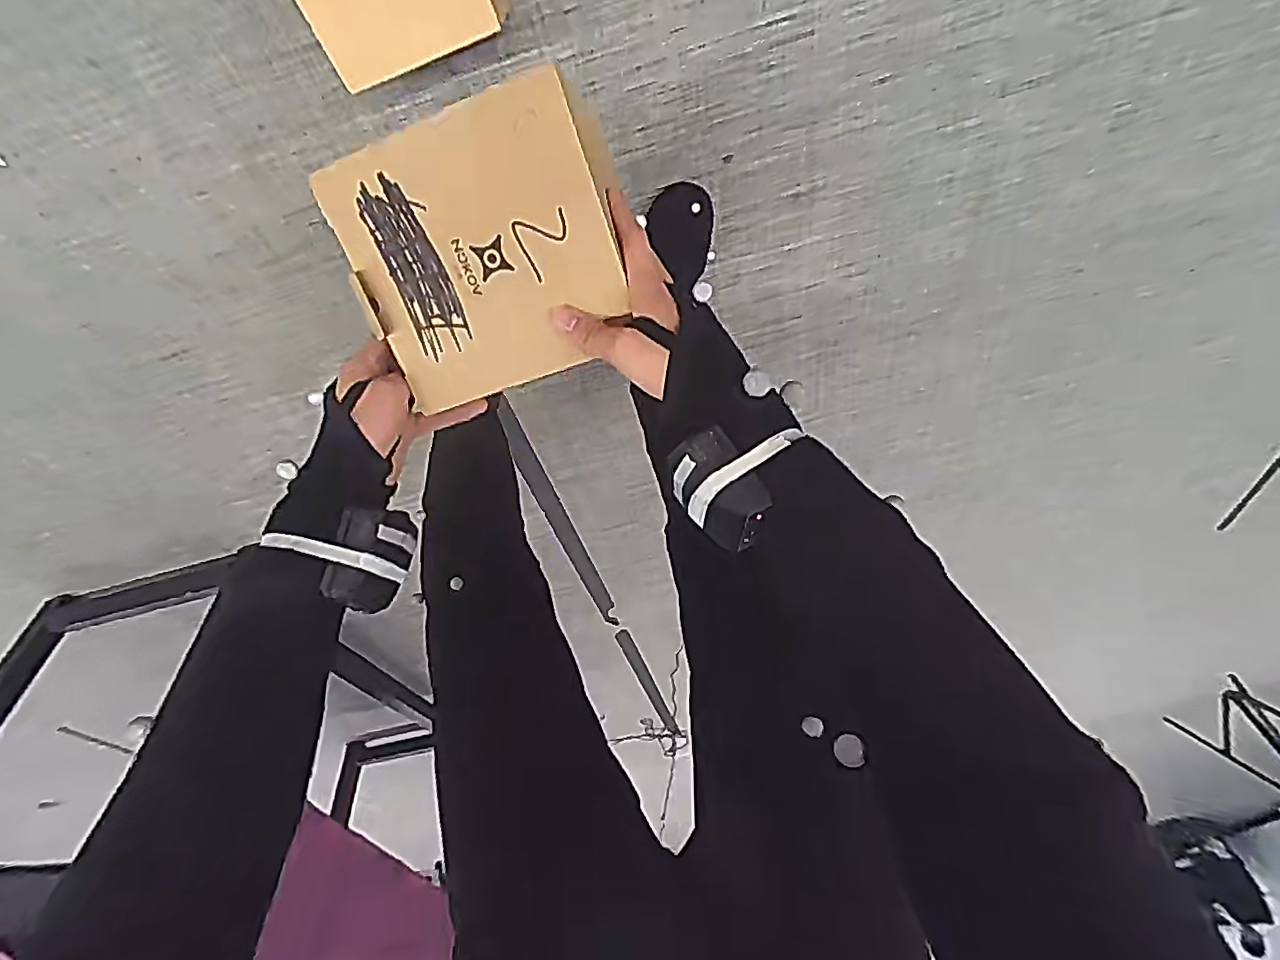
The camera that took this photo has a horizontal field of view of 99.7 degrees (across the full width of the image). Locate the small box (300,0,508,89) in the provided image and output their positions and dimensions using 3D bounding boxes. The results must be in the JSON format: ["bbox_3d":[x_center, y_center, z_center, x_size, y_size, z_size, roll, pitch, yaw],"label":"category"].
[{"bbox_3d":[-0.236,-0.516,0.511,0.168,0.176,0.179,-16,136,8],"label":"small box"}]
